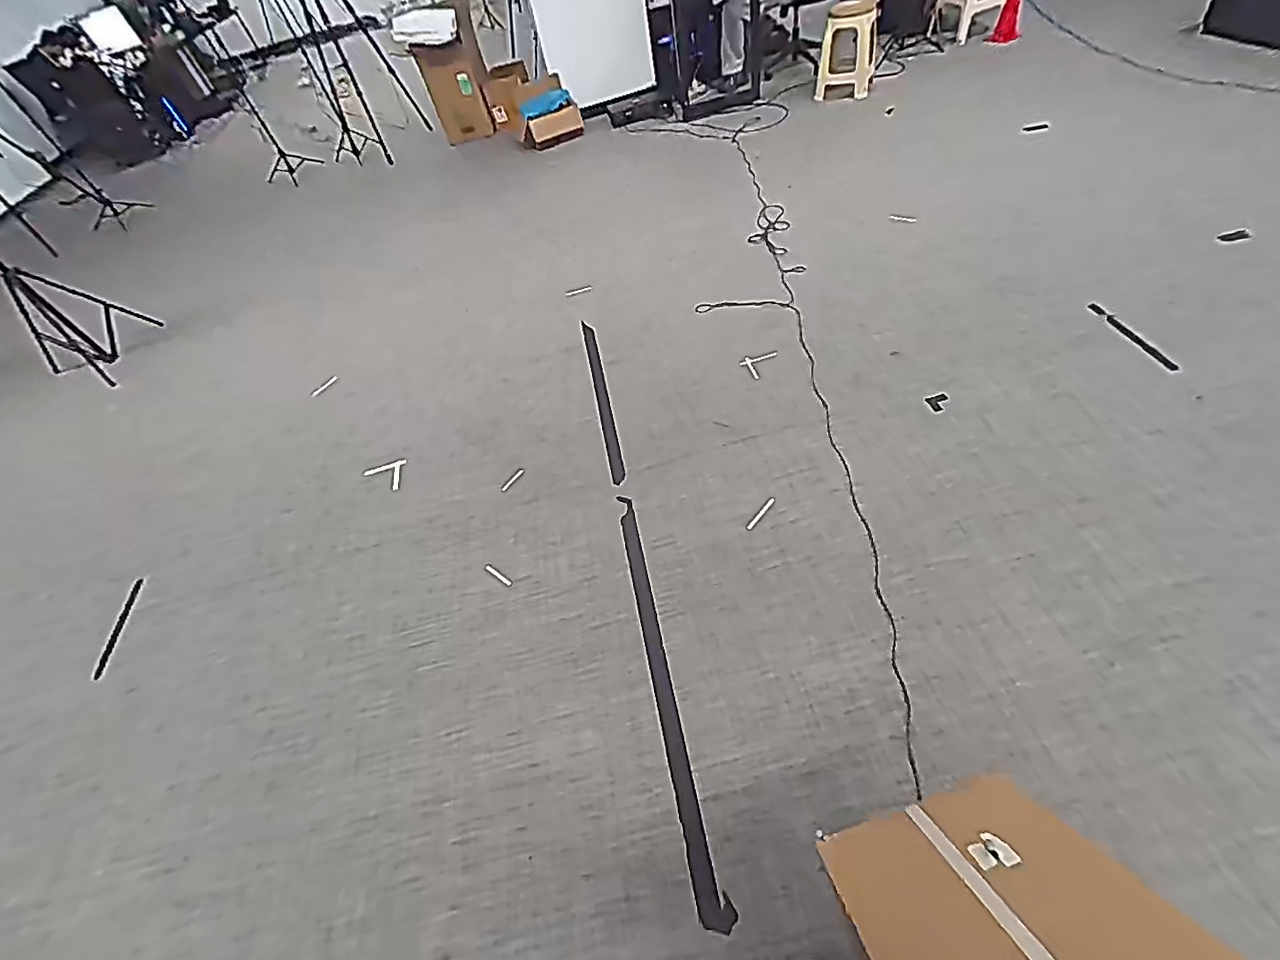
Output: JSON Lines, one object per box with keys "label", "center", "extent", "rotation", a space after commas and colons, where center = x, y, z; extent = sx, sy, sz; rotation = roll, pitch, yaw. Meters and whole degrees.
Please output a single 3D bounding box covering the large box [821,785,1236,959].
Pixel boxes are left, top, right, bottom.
{"label": "large box", "center": [0.470, 0.651, 0.629], "extent": [0.320, 0.408, 0.320], "rotation": [-18, 87, 0]}
